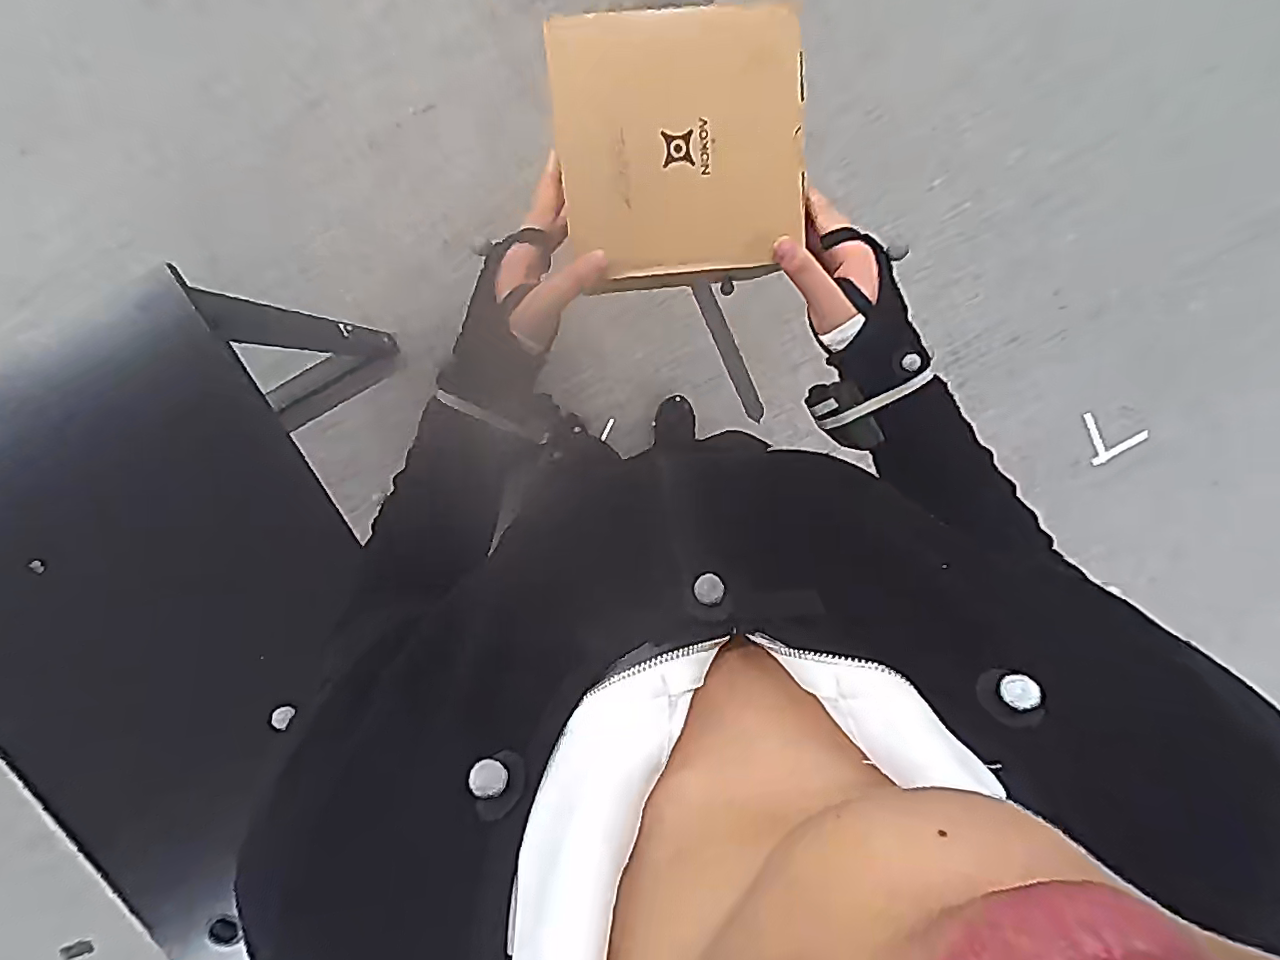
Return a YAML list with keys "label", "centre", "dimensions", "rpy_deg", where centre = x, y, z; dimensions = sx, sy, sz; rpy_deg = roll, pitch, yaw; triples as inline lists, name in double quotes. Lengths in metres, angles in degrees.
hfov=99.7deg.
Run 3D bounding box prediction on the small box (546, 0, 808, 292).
- label: "small box"
  centre: [0.026, -0.256, 0.454]
  dimensions: [0.179, 0.176, 0.168]
  rpy_deg: [-7, 105, -1]
